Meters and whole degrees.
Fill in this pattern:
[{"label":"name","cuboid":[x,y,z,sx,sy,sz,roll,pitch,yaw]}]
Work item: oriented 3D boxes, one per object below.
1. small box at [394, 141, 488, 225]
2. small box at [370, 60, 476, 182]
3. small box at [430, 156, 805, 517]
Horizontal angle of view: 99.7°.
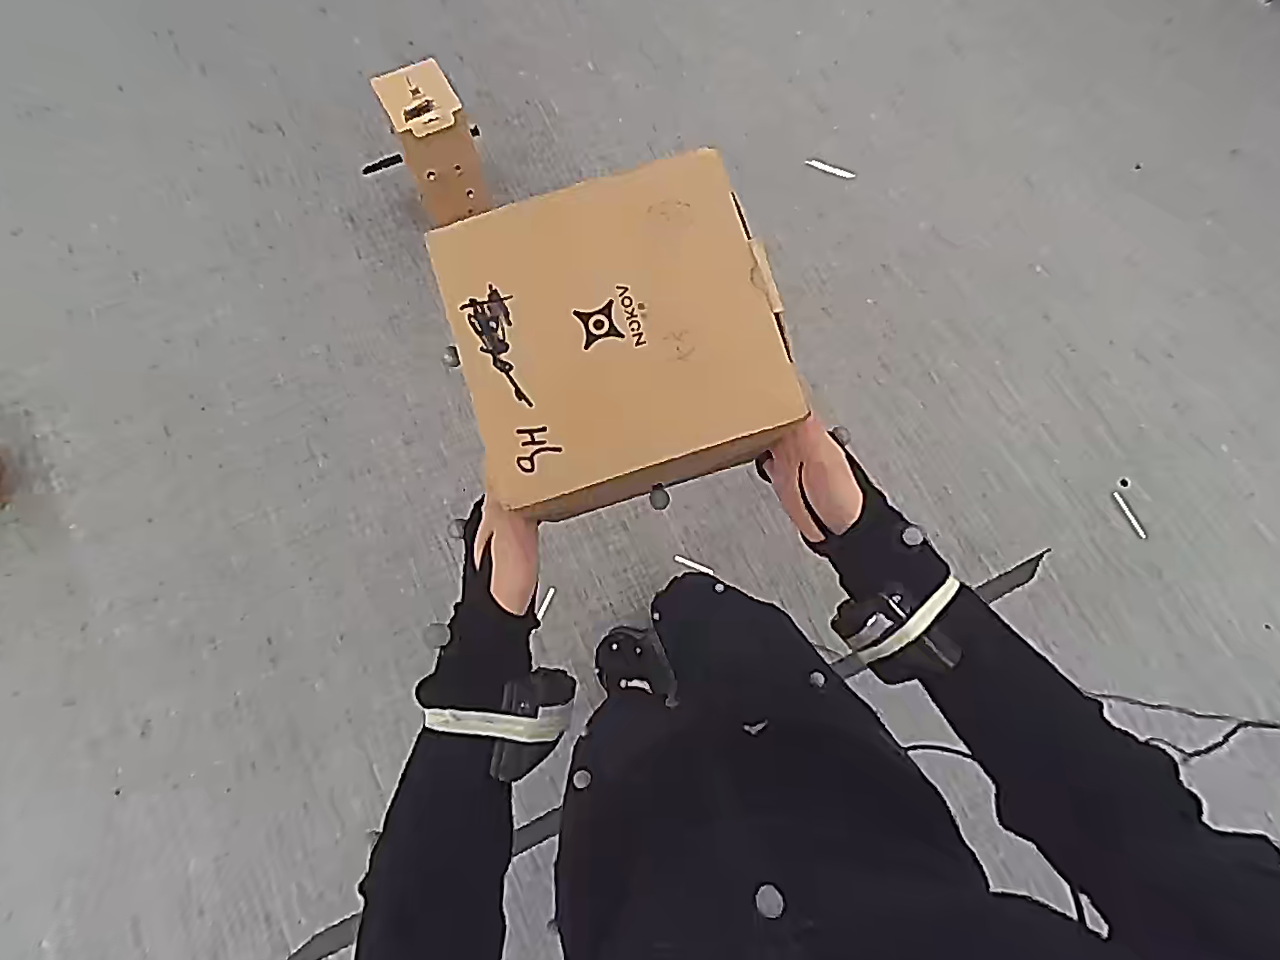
[{"label":"small box","cuboid":[-0.548,-0.847,1.515,0.168,0.176,0.179,-29,79,-10]},{"label":"small box","cuboid":[-0.533,-0.886,1.356,0.168,0.176,0.179,-28,80,-10]},{"label":"small box","cuboid":[-0.015,-0.077,0.377,0.179,0.176,0.168,-17,83,-3]}]
